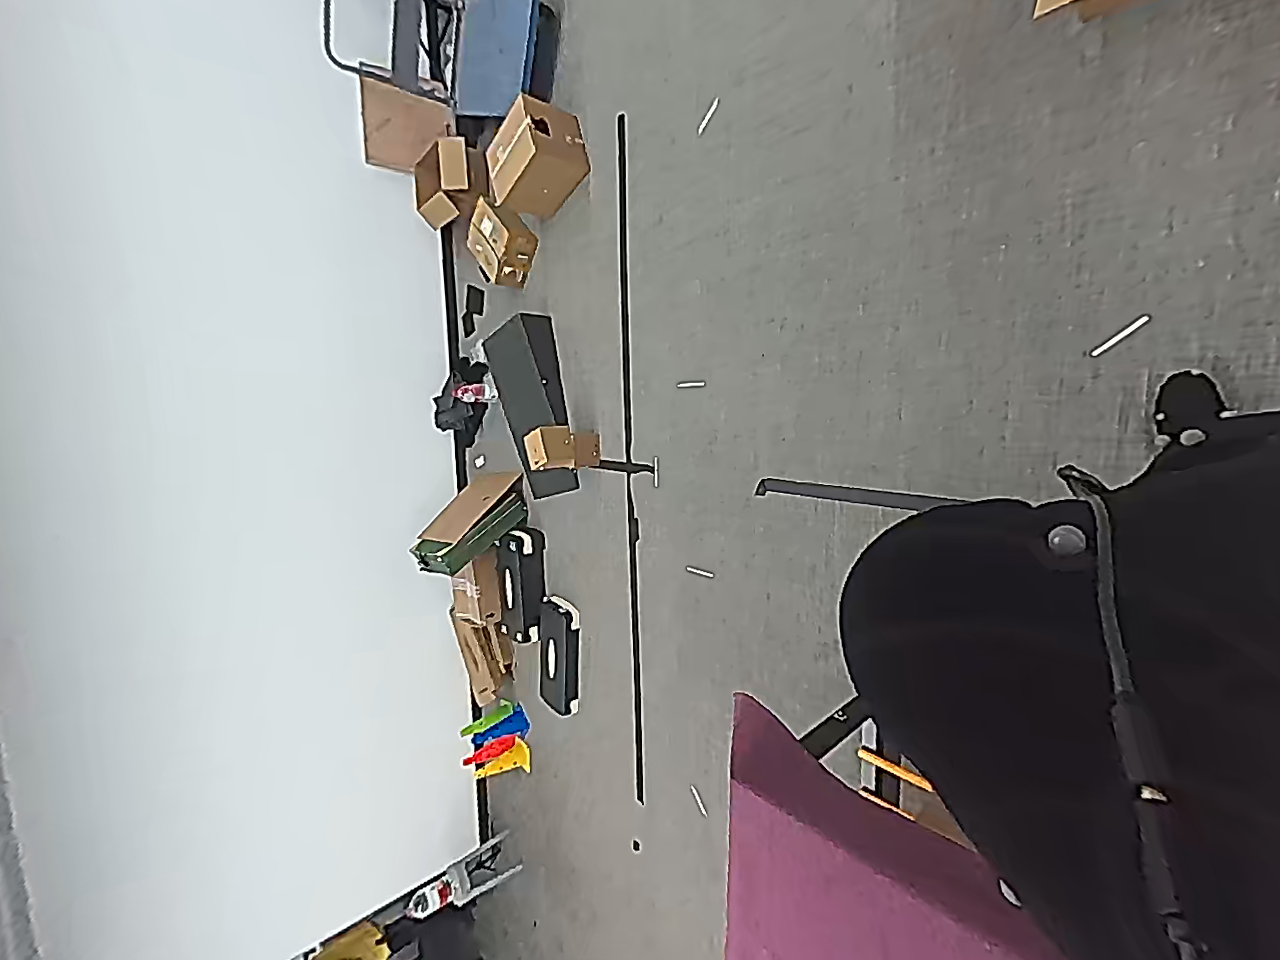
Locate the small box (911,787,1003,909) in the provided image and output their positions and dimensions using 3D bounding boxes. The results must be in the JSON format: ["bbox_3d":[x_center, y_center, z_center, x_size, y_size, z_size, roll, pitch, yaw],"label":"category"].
[{"bbox_3d":[0.849,0.969,1.445,0.168,0.176,0.179,9,104,48],"label":"small box"}]
